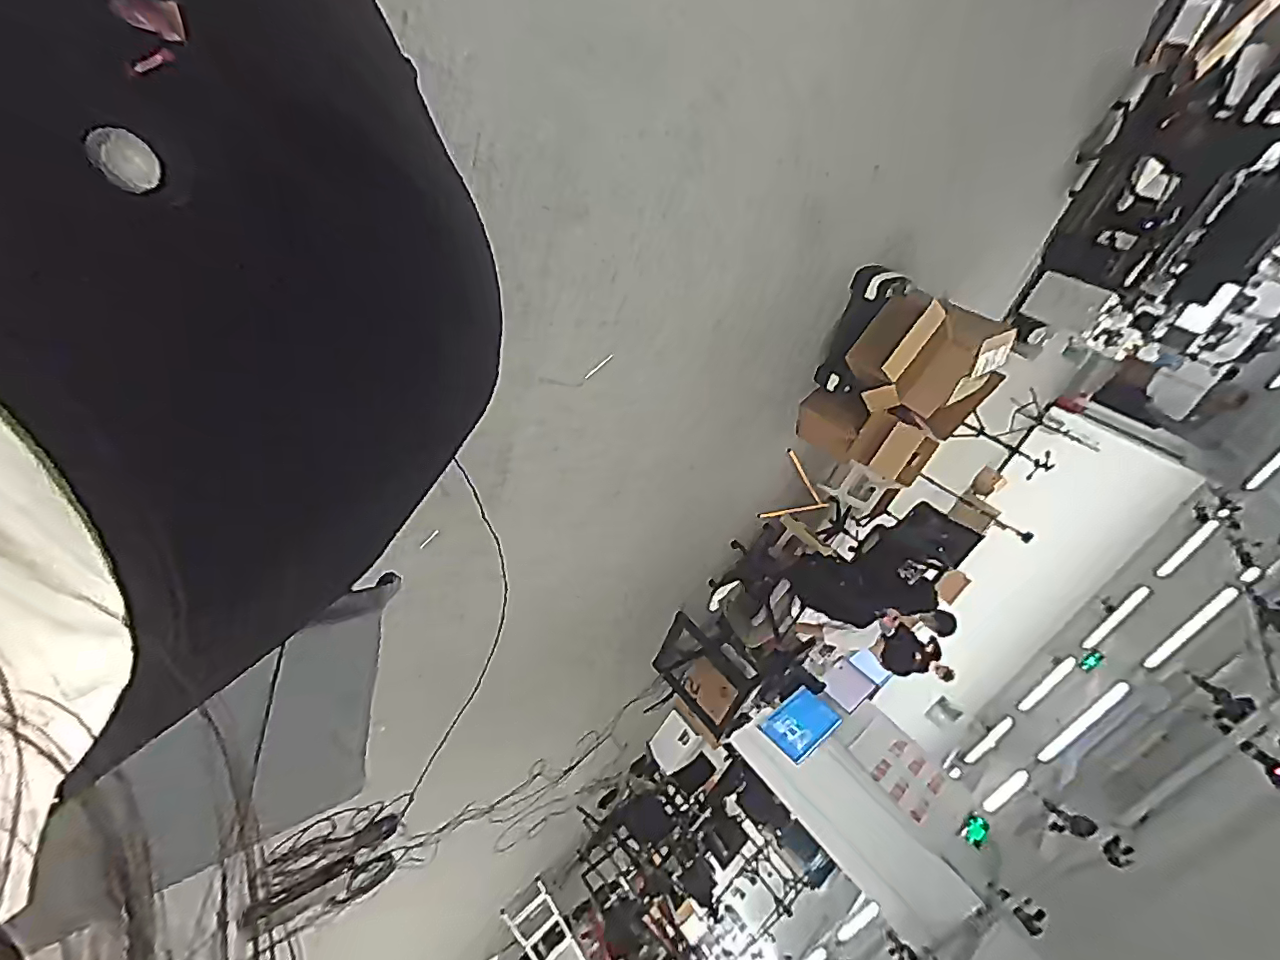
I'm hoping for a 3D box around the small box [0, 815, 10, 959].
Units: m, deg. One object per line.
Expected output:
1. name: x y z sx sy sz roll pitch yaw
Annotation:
1. small box: -0.876 0.509 0.627 0.179 0.176 0.168 -9 131 -47
